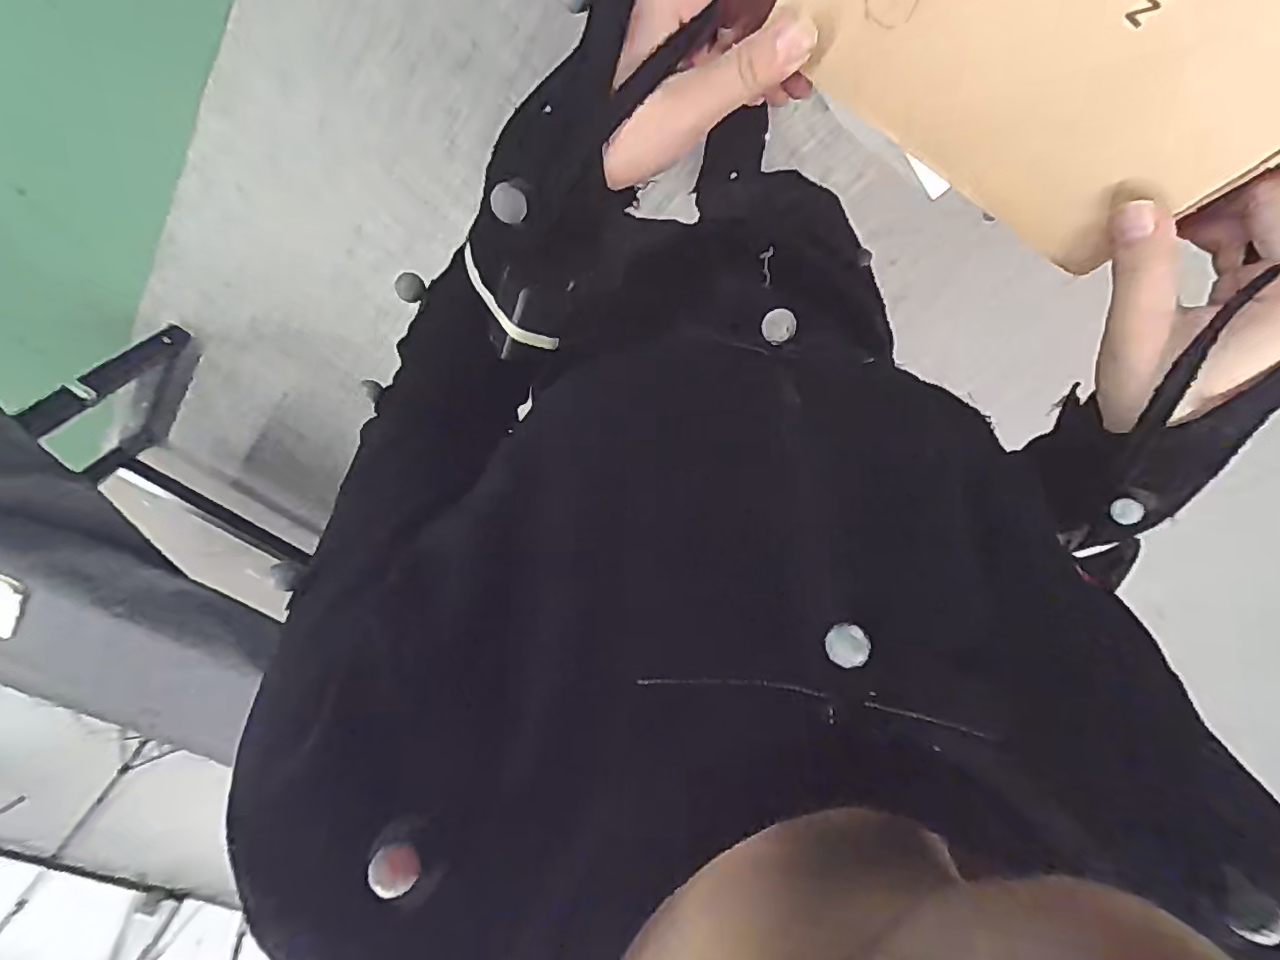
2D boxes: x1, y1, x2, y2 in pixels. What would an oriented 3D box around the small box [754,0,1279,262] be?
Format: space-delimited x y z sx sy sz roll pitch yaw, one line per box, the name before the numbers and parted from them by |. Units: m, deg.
small box | 0.172 -0.224 0.184 0.179 0.176 0.168 28 153 -10
